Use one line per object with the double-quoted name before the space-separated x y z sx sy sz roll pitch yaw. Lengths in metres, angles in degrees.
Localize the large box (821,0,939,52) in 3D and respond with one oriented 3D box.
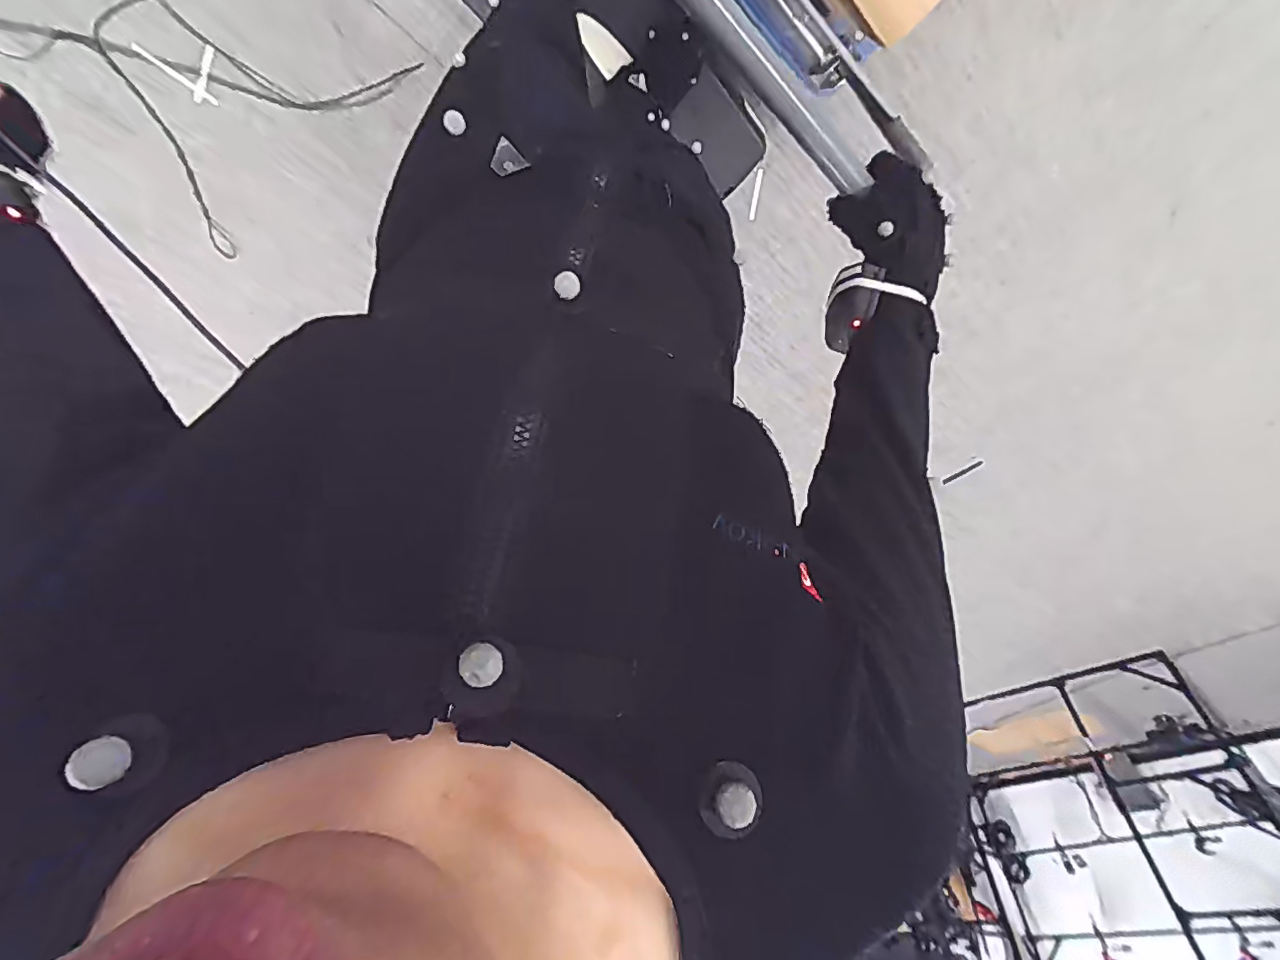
"large box" 0.278 -0.852 0.654 0.408 0.320 0.320 28 132 -30
